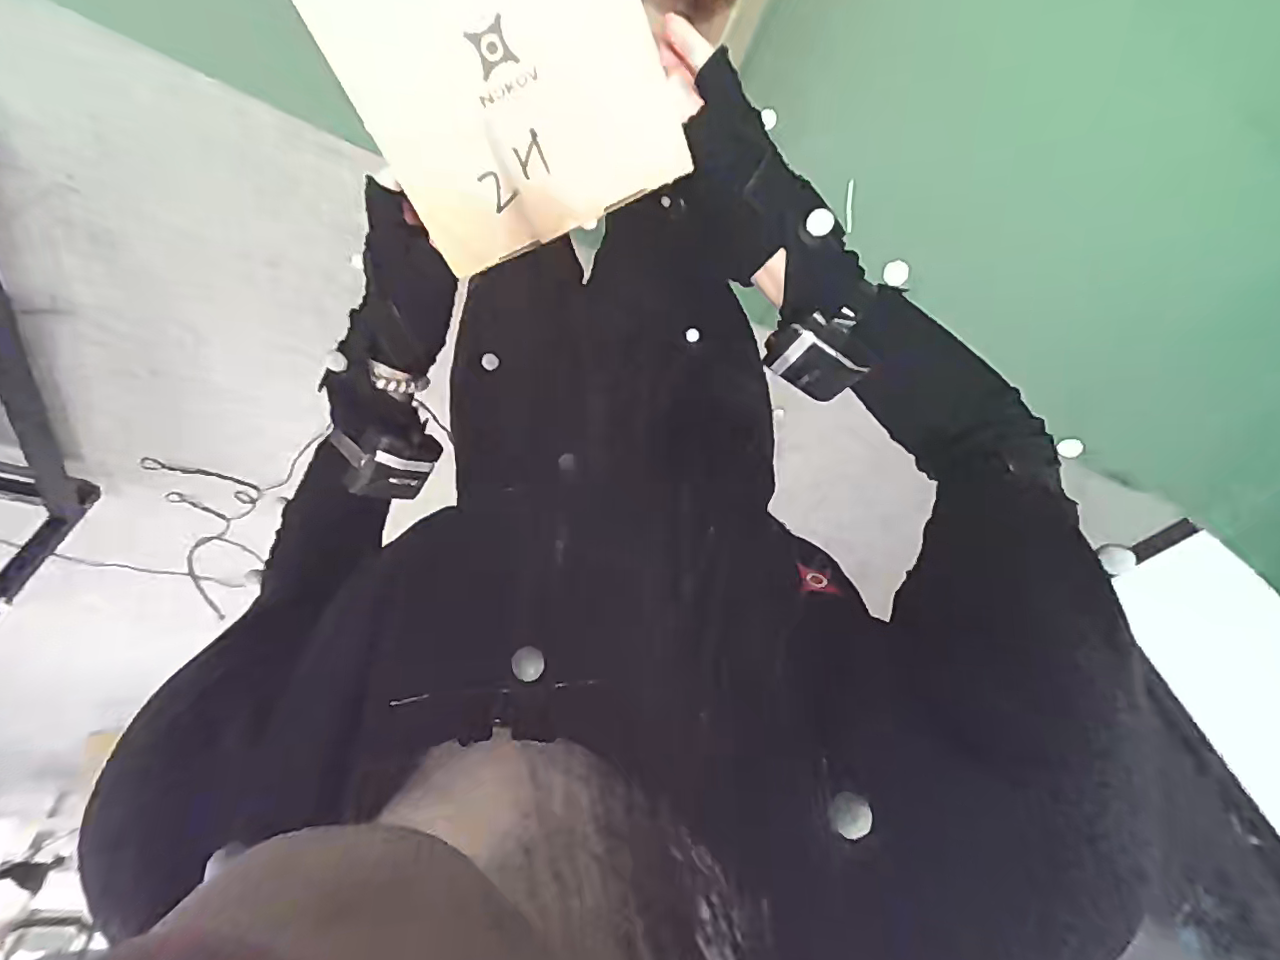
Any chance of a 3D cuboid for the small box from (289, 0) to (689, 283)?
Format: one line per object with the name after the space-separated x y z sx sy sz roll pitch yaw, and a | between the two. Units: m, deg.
-0.080 -0.262 0.360 0.168 0.176 0.179 -21 121 12 | small box
